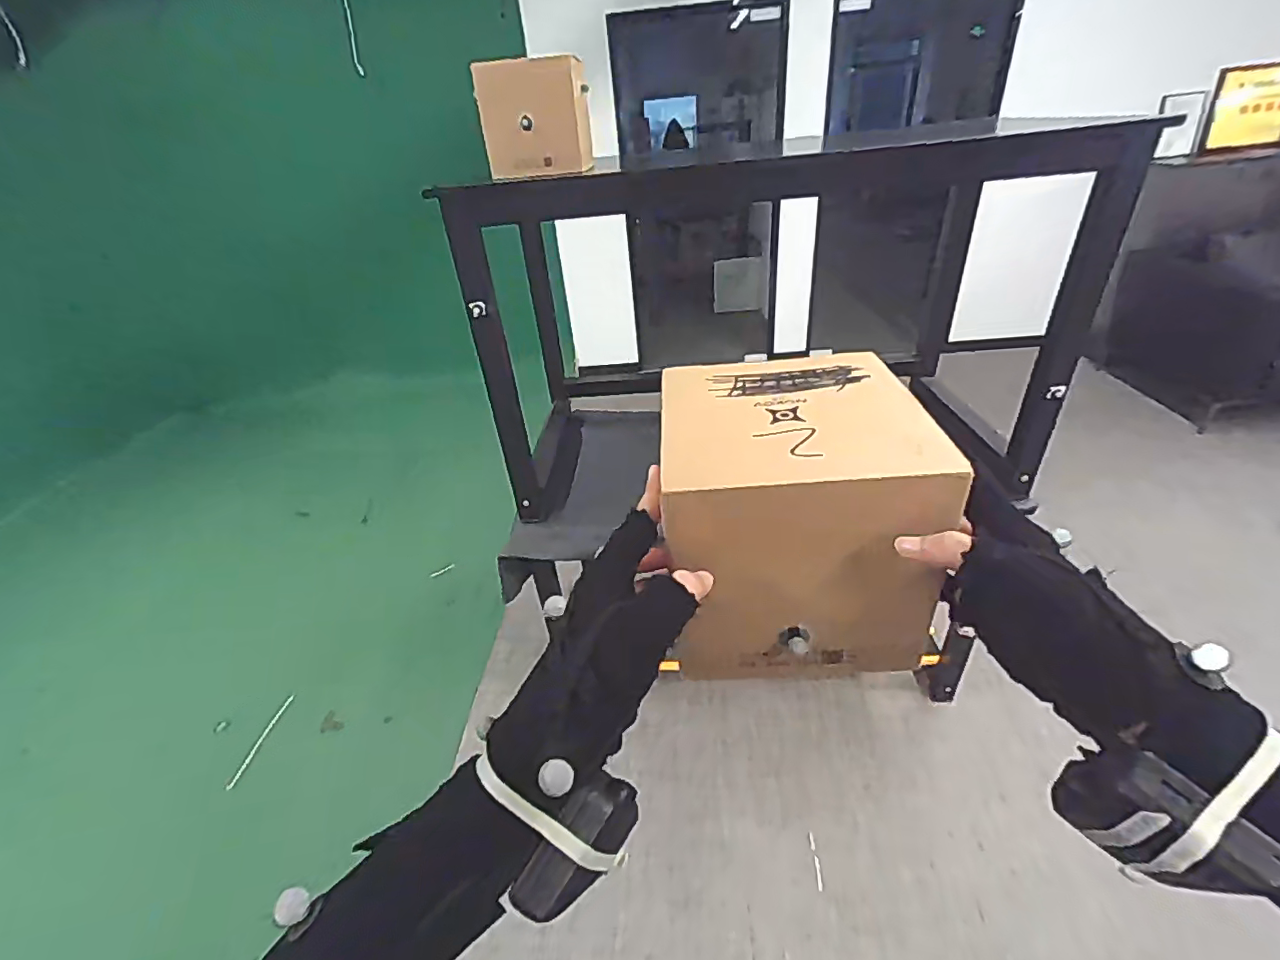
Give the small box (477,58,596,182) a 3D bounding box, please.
[{"bbox_3d":[-0.176,-0.646,0.985,0.168,0.176,0.179,-2,33,4],"label":"small box"}]
